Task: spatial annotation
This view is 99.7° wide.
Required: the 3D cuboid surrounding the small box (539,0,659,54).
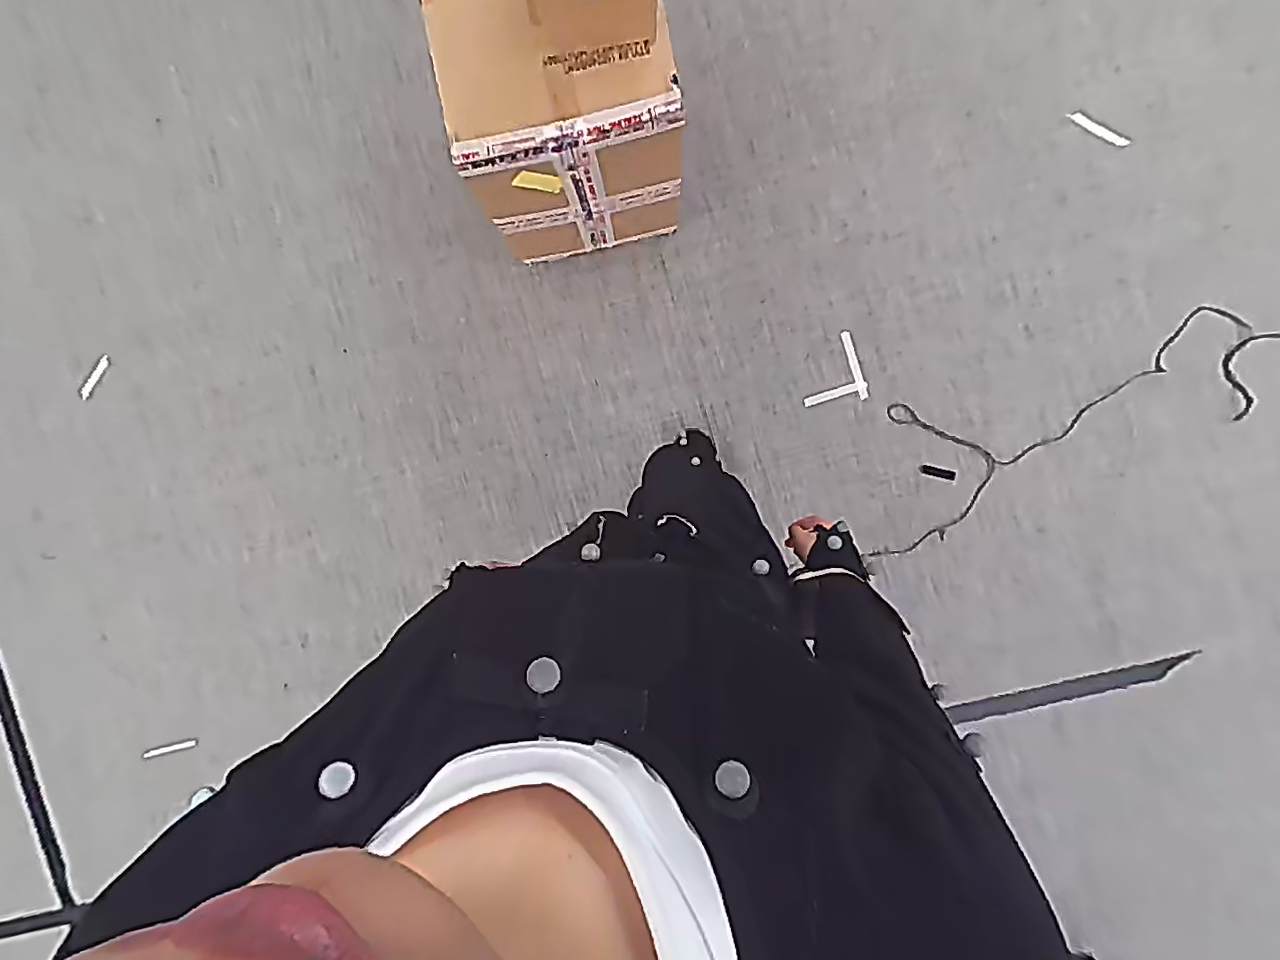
[{"bbox_3d":[-0.068,-0.761,0.779,0.179,0.176,0.168,-8,94,2],"label":"small box"}]
